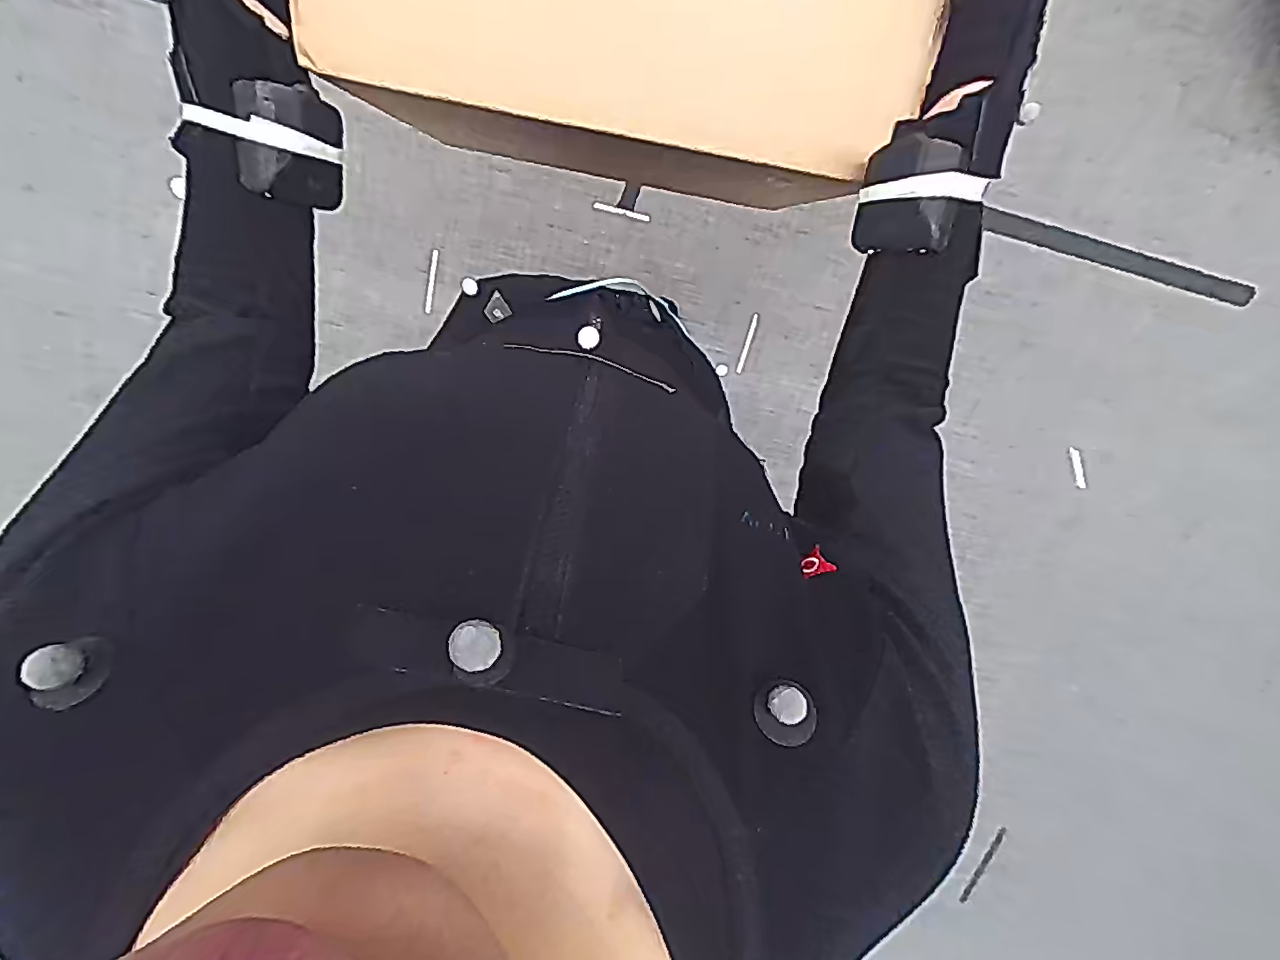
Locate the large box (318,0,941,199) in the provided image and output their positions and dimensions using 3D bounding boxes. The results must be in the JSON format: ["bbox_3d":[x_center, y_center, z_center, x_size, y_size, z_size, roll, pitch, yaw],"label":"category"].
[{"bbox_3d":[0.001,-0.444,0.449,0.408,0.320,0.320,7,114,-7],"label":"large box"}]
